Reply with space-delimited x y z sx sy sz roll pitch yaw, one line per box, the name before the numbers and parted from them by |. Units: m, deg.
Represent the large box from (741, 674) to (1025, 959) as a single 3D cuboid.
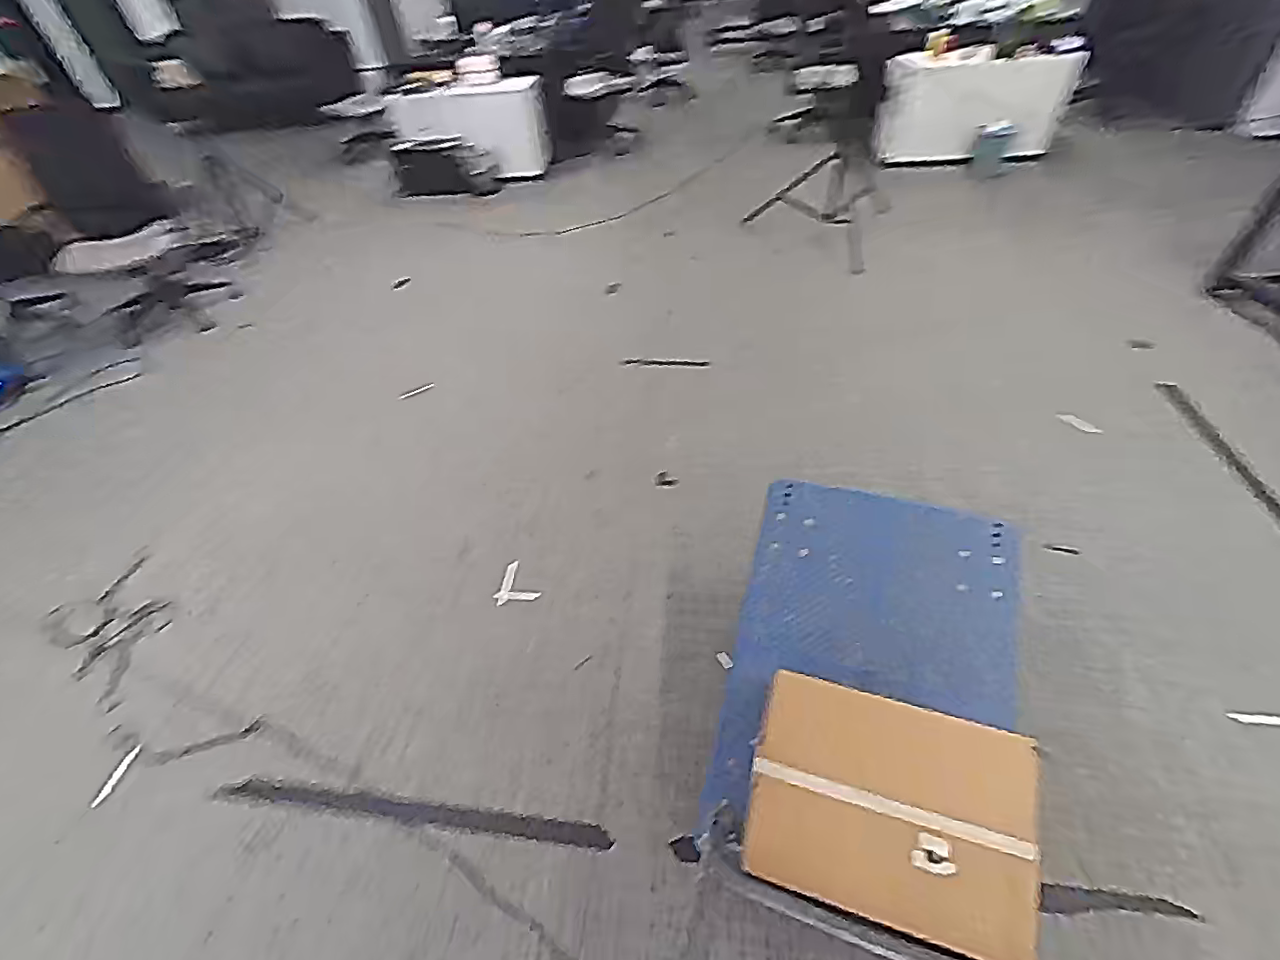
large box | 0.412 0.577 0.999 0.408 0.320 0.320 12 70 15
